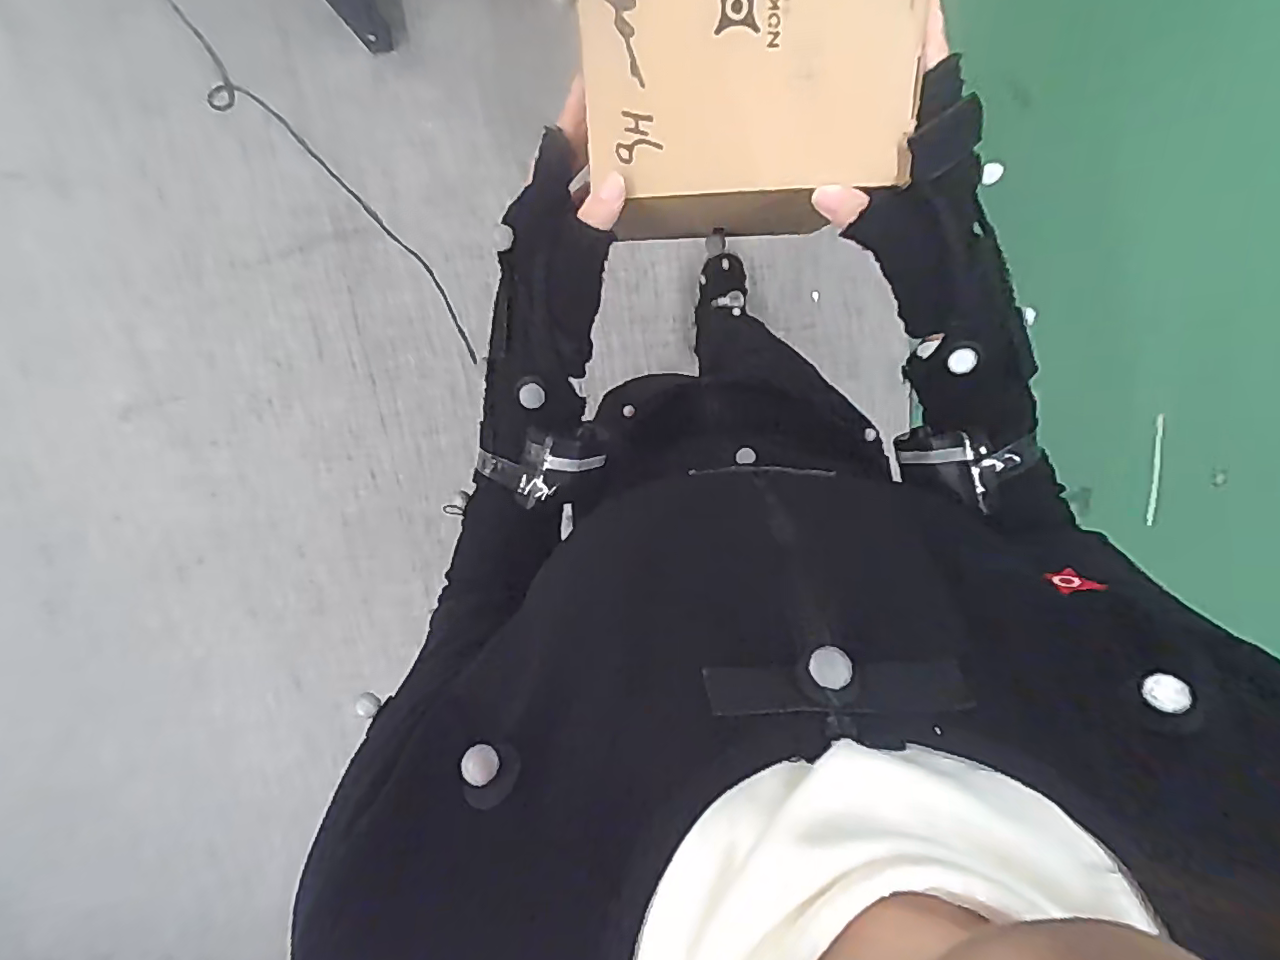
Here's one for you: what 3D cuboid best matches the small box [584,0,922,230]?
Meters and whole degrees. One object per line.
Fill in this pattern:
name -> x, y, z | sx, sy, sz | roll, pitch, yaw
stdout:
small box -> 0.054, -0.266, 0.349 | 0.179, 0.176, 0.168 | -3, 105, -2
